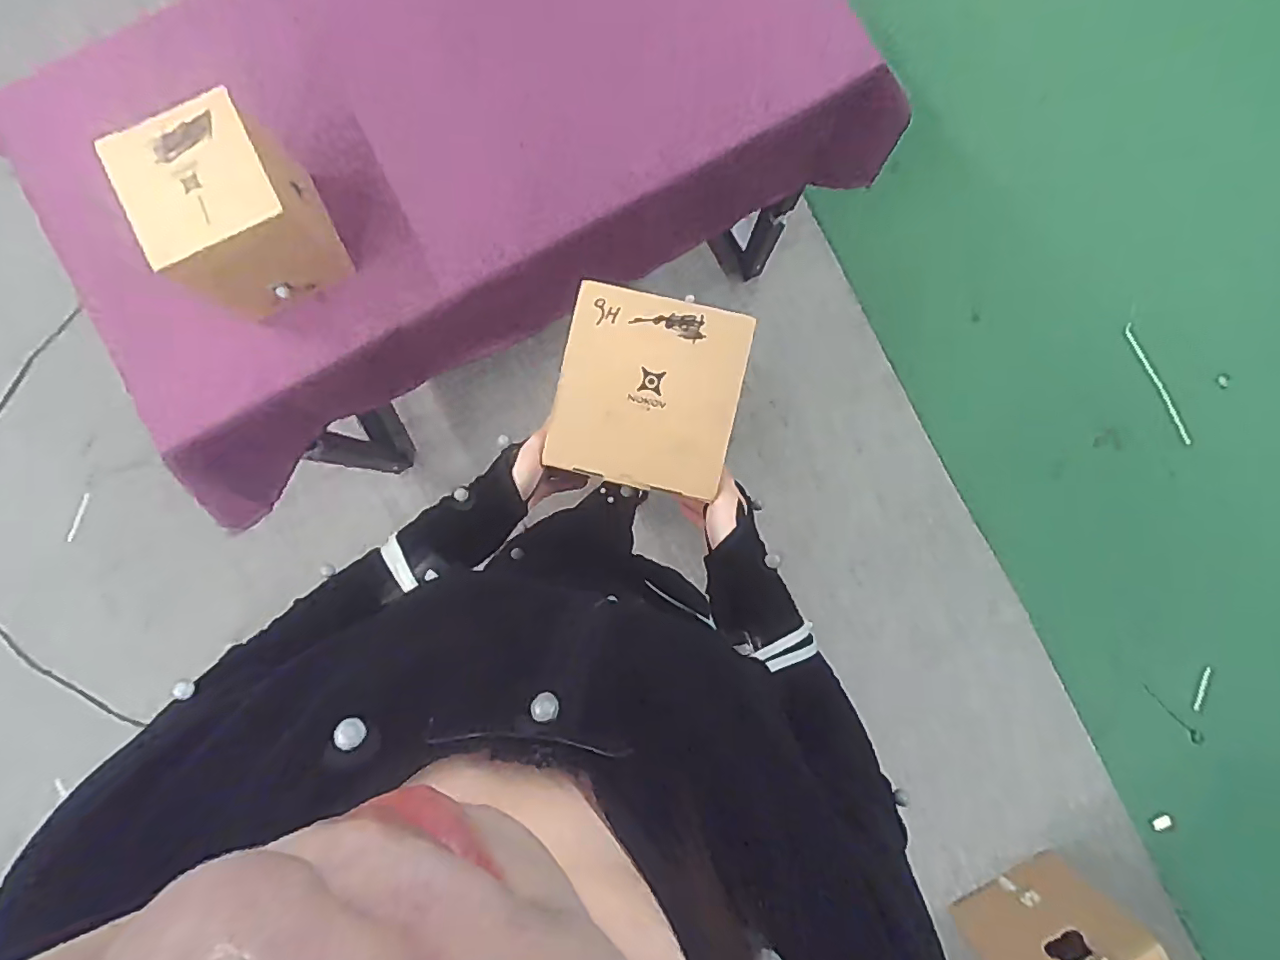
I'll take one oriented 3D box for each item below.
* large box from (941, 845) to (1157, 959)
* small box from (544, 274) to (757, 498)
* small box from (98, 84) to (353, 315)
[{"bbox_3d":[1.034,1.222,1.308,0.320,0.320,0.408,-27,89,-2],"label":"large box"},{"bbox_3d":[0.011,-0.089,0.577,0.168,0.176,0.179,14,92,0],"label":"small box"},{"bbox_3d":[-0.517,-0.347,0.702,0.168,0.176,0.179,-26,88,-2],"label":"small box"}]
